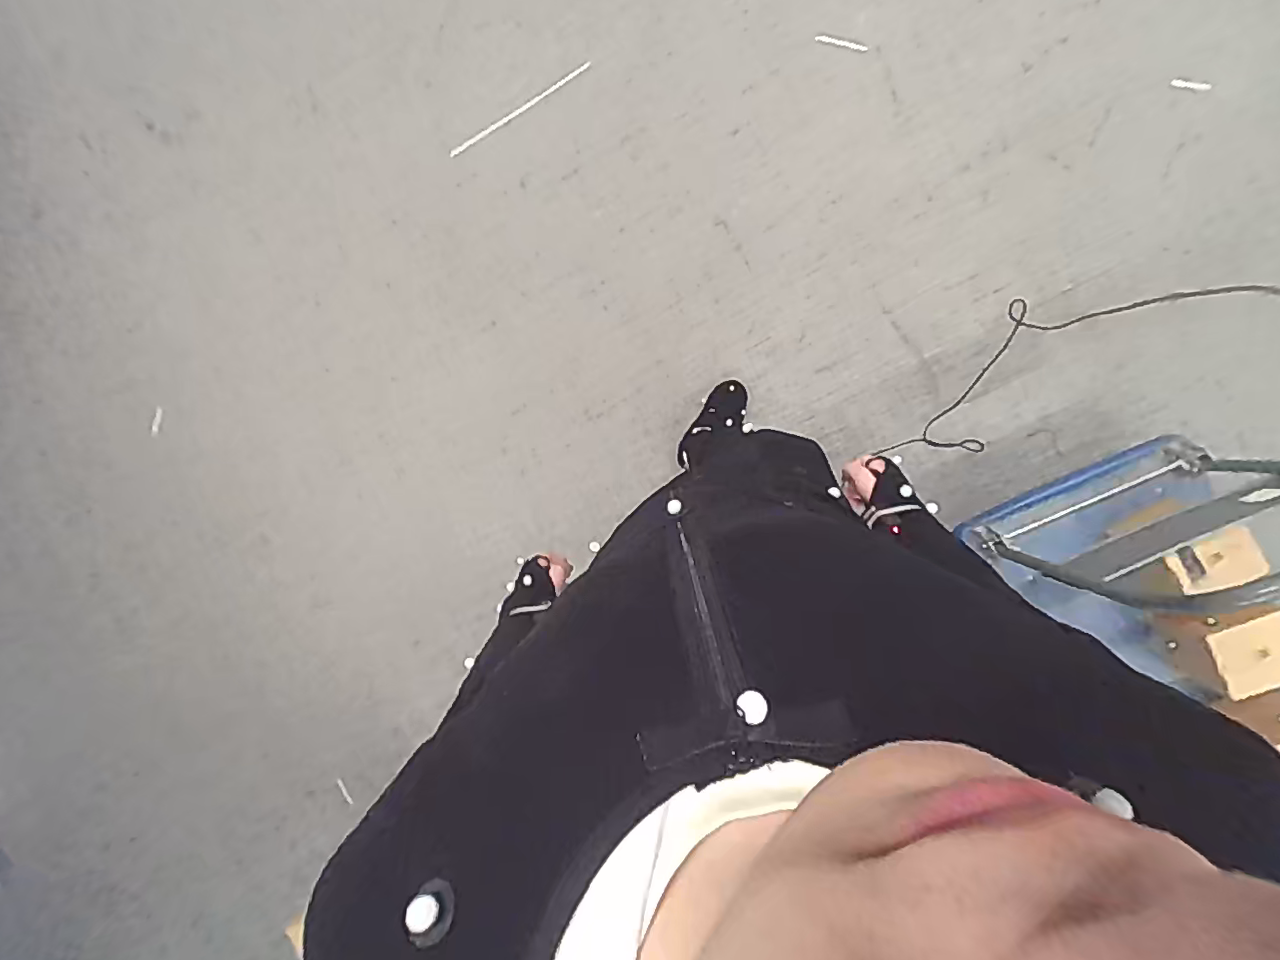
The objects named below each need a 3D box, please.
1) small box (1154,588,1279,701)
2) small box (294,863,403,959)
[{"bbox_3d":[1.378,0.374,1.260,0.179,0.176,0.168,-26,92,9],"label":"small box"},{"bbox_3d":[-0.766,1.176,1.449,0.179,0.176,0.168,-23,92,8],"label":"small box"}]
